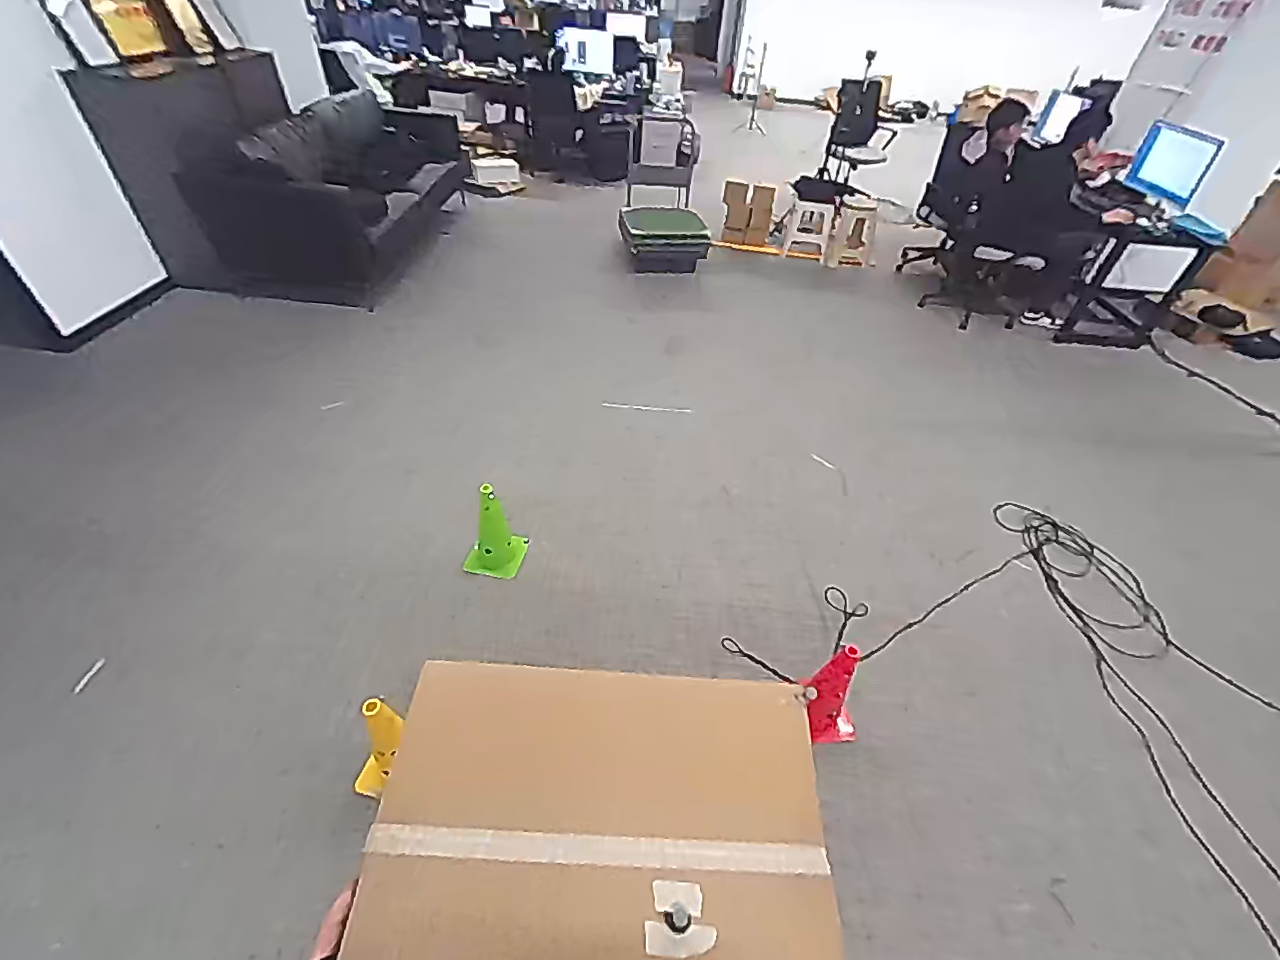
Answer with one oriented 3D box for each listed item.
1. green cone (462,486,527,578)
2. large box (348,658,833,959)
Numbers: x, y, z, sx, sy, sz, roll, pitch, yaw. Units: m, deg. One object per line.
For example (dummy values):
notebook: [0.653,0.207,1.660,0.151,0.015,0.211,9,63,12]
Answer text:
green cone: [-0.539,0.157,1.928,0.200,0.368,0.202,9,44,4]
large box: [-0.046,0.416,0.609,0.408,0.320,0.320,5,52,-2]
